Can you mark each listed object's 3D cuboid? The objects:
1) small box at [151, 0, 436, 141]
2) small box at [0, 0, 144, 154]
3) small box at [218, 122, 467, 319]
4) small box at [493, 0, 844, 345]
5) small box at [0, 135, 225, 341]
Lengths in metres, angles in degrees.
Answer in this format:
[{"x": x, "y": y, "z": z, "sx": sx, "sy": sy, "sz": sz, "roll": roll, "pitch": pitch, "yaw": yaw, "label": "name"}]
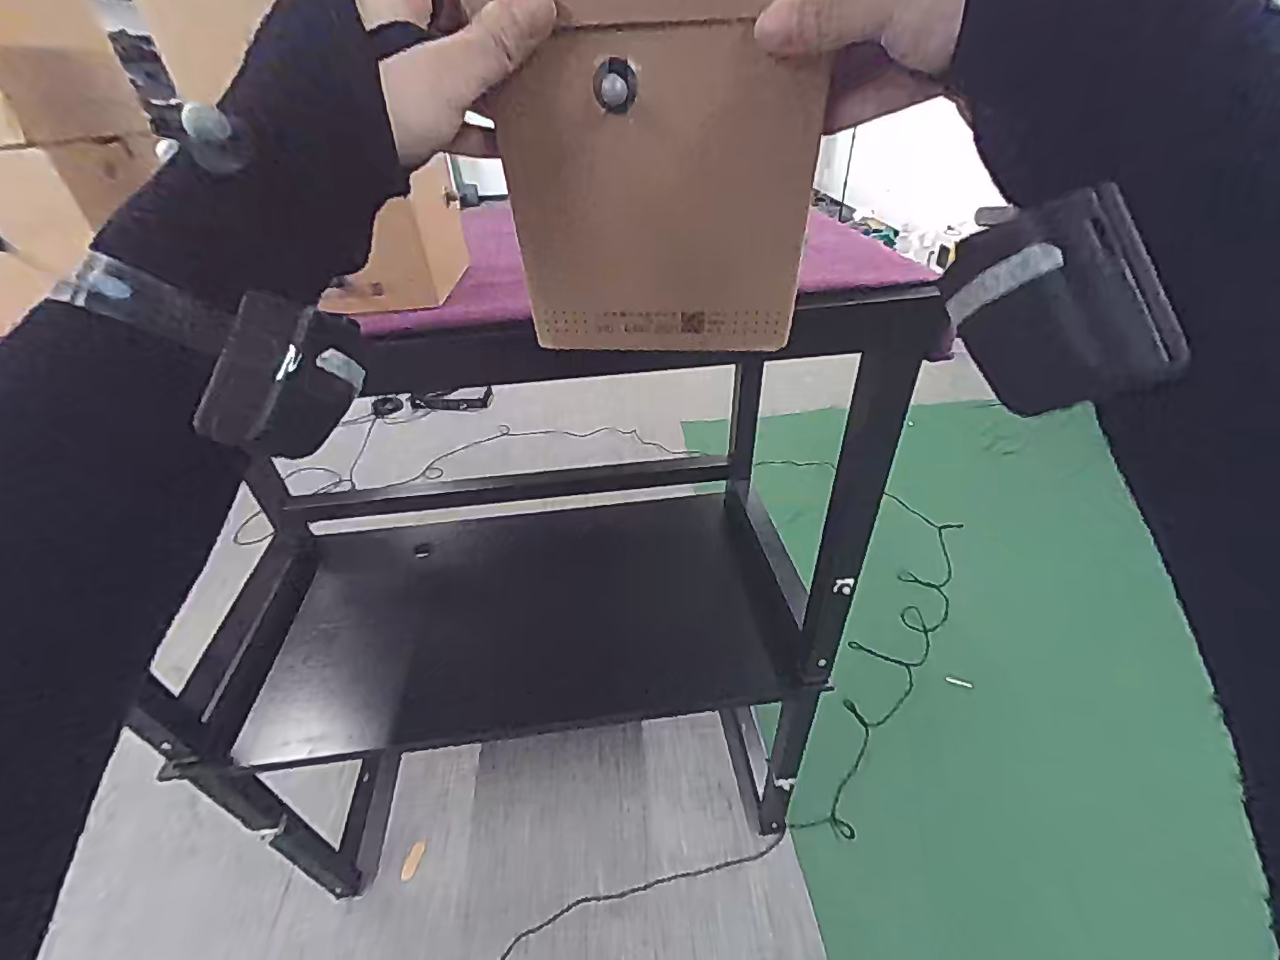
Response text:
[{"x": -0.316, "y": -0.420, "z": 0.502, "sx": 0.179, "sy": 0.176, "sz": 0.168, "roll": -6, "pitch": 37, "yaw": -1, "label": "small box"}, {"x": -0.623, "y": -0.399, "z": 0.499, "sx": 0.168, "sy": 0.176, "sz": 0.179, "roll": -6, "pitch": 37, "yaw": -3, "label": "small box"}, {"x": -0.304, "y": -0.291, "z": 0.604, "sx": 0.168, "sy": 0.176, "sz": 0.179, "roll": -5, "pitch": 37, "yaw": -1, "label": "small box"}, {"x": 0.022, "y": -0.209, "z": 0.361, "sx": 0.168, "sy": 0.176, "sz": 0.179, "roll": 2, "pitch": 45, "yaw": 6, "label": "small box"}, {"x": -0.610, "y": -0.264, "z": 0.588, "sx": 0.179, "sy": 0.176, "sz": 0.168, "roll": -6, "pitch": 36, "yaw": -3, "label": "small box"}]
